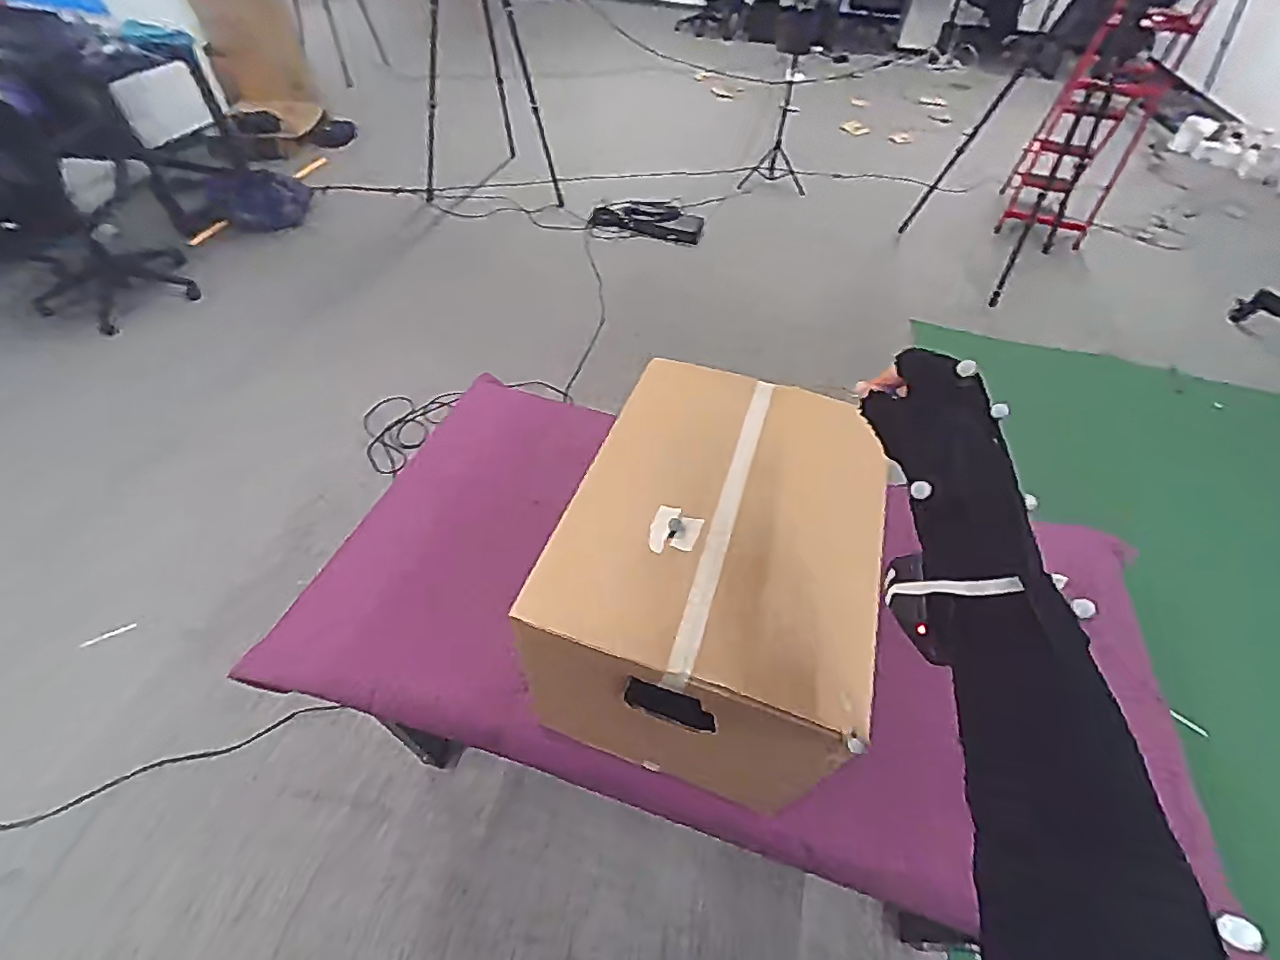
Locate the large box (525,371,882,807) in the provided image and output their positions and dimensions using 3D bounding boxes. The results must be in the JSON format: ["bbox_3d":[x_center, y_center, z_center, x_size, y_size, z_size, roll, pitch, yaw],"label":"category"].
[{"bbox_3d":[0.090,0.129,0.702,0.320,0.320,0.408,17,51,11],"label":"large box"}]
